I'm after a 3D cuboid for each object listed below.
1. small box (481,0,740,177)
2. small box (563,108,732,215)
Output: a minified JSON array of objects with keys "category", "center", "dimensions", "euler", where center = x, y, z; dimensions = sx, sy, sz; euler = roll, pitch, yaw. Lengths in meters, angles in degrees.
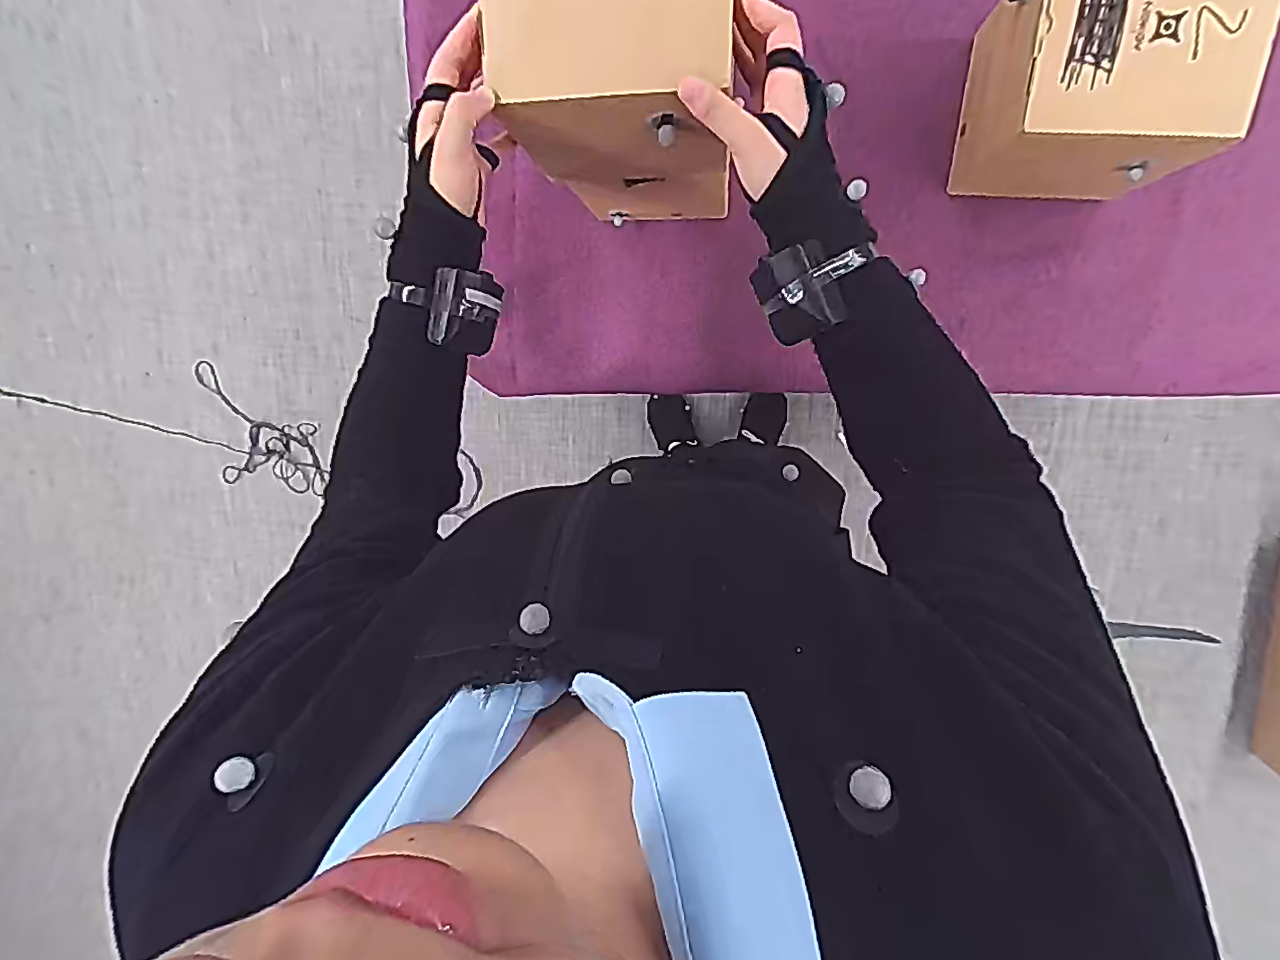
[{"category":"small box","center":[-0.012,-0.358,0.431],"dimensions":[0.179,0.176,0.168],"euler":[2,102,8]},{"category":"small box","center":[0.015,-0.399,0.588],"dimensions":[0.168,0.176,0.179],"euler":[3,101,8]}]
